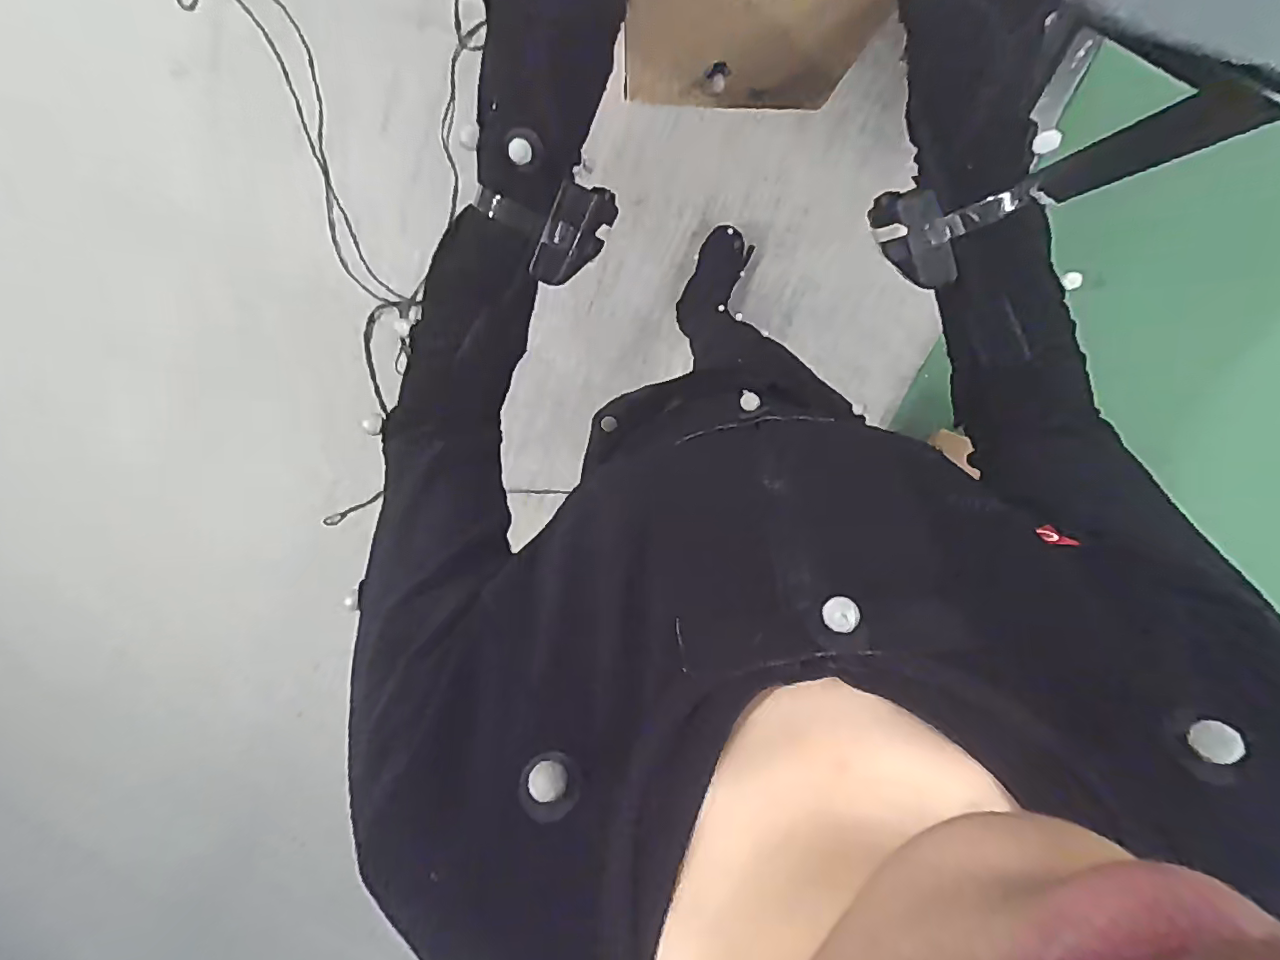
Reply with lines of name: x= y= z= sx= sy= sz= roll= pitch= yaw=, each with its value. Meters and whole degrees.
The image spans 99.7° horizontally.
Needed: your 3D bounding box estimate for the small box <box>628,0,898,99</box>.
small box: x=0.077 y=-0.386 z=0.349 sx=0.168 sy=0.176 sz=0.179 roll=1 pitch=104 yaw=-1
